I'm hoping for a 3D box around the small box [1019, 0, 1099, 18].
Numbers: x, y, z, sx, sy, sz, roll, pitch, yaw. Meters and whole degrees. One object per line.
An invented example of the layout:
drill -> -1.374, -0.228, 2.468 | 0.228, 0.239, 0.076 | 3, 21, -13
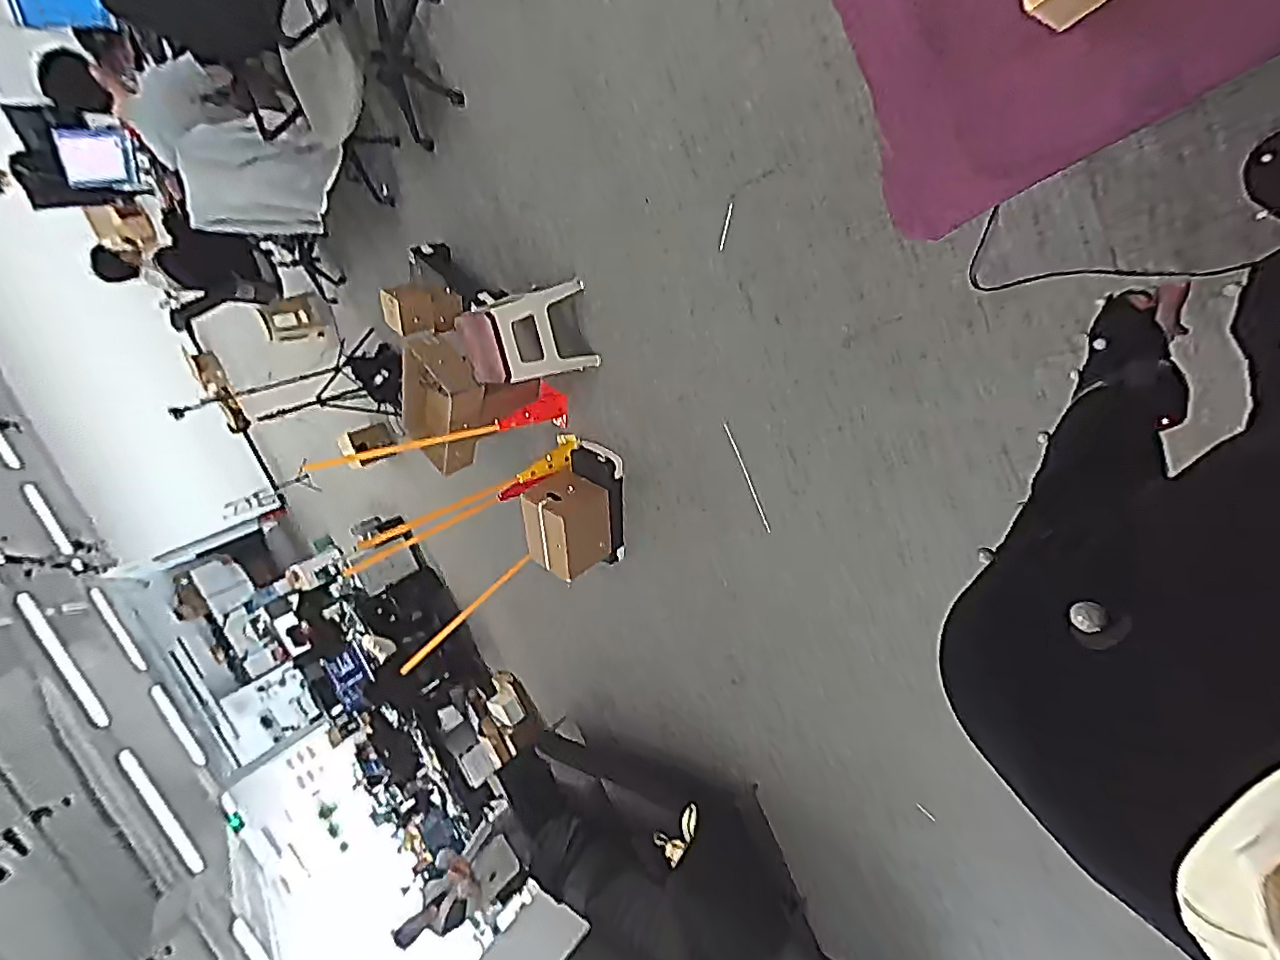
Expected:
small box -> 0.427, -0.559, 0.480 | 0.168, 0.176, 0.179 | -16, 101, 51
